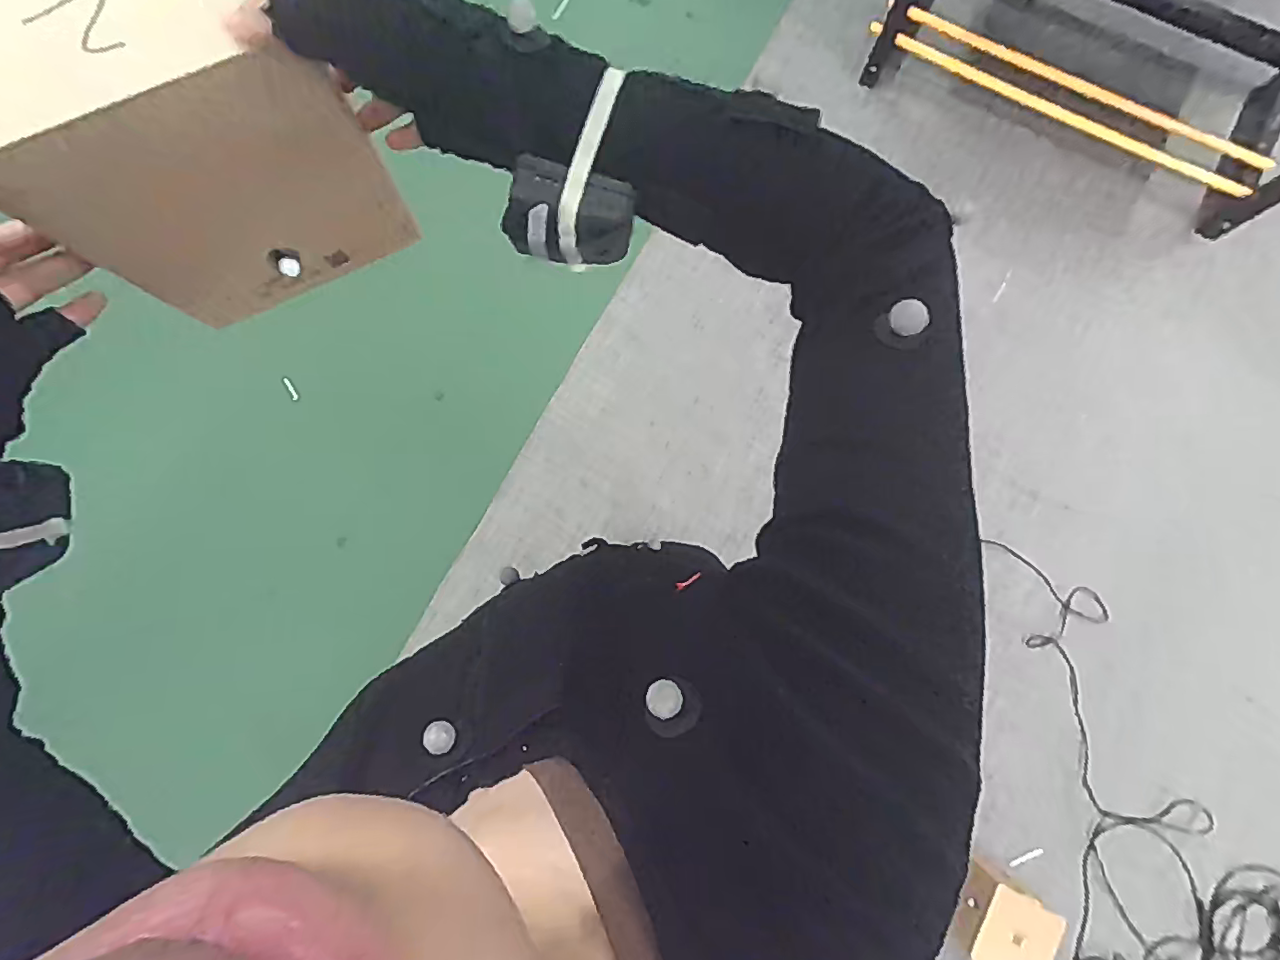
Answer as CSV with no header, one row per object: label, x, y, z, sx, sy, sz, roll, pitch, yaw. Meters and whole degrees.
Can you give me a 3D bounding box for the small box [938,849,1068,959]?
small box,0.838,1.028,1.270,0.168,0.176,0.179,27,82,5
